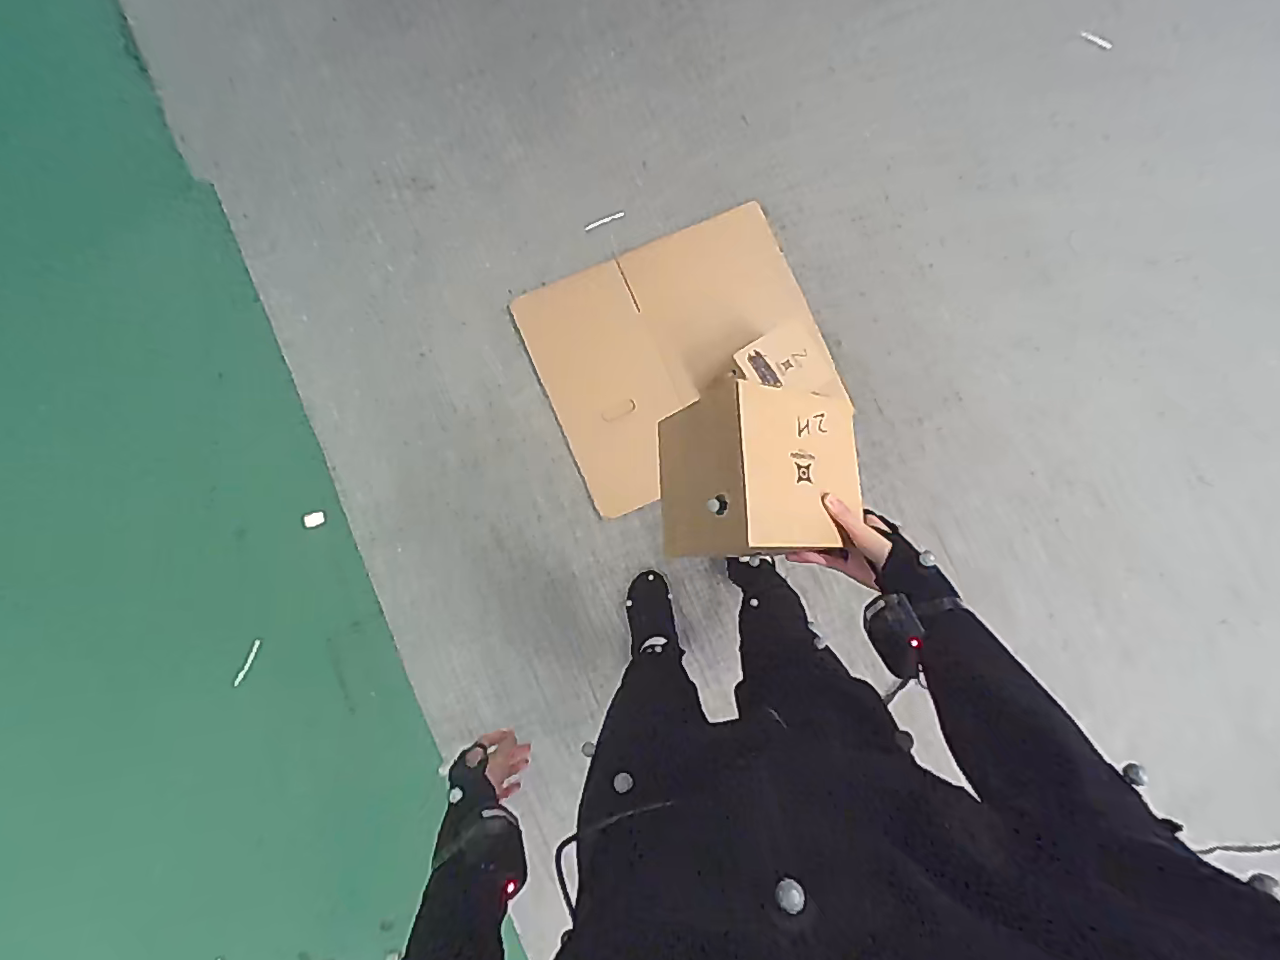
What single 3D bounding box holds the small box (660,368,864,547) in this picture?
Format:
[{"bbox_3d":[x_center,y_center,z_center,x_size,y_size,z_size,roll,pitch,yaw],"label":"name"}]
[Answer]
[{"bbox_3d":[0.135,-0.012,0.646,0.168,0.176,0.179,4,77,-27],"label":"small box"}]
